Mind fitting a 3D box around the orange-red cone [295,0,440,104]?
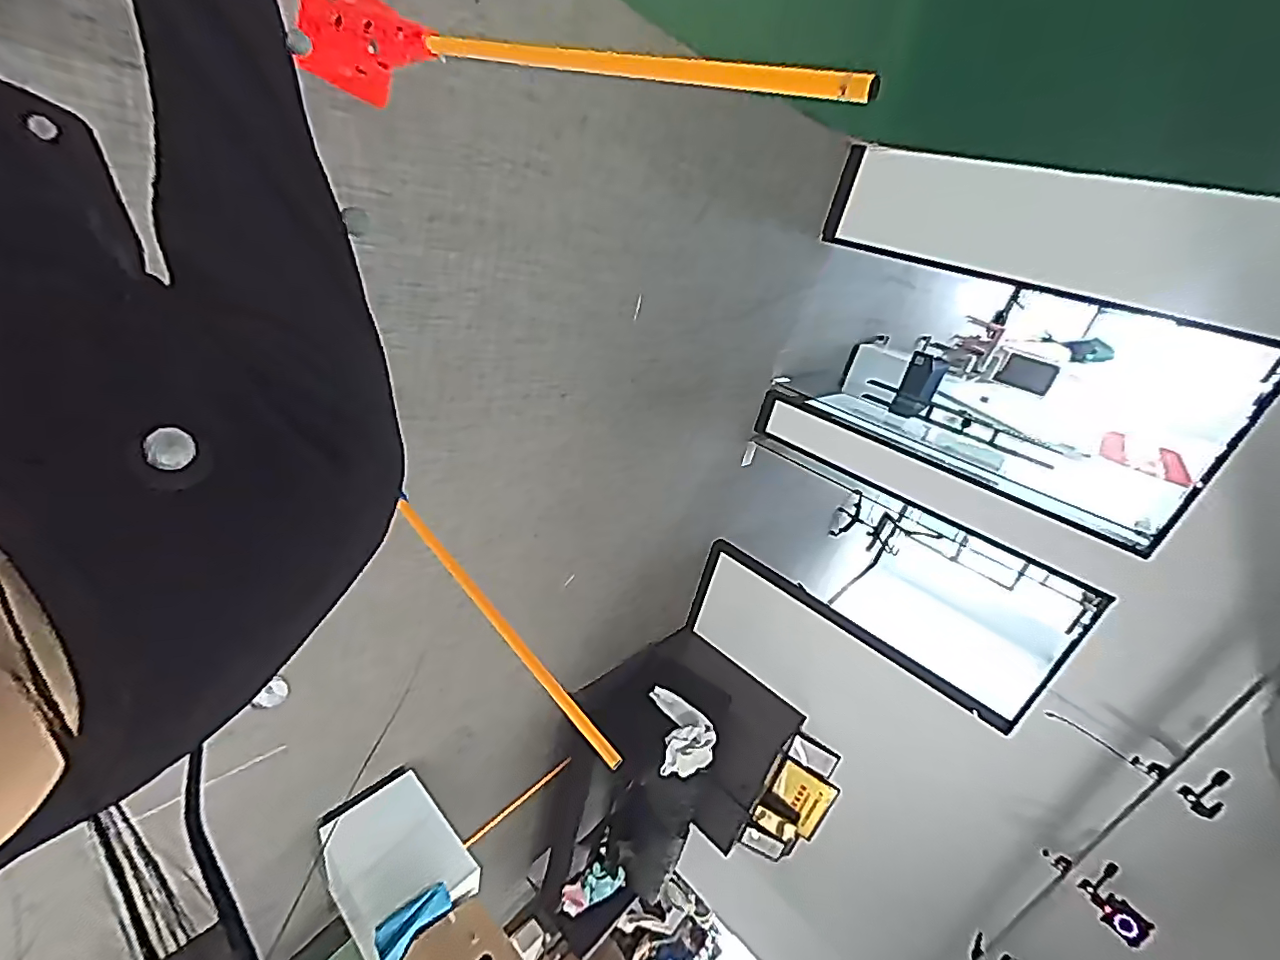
[{"bbox_3d":[-0.503,-0.880,1.077,0.198,0.360,0.199,0,119,-53],"label":"orange-red cone"}]
